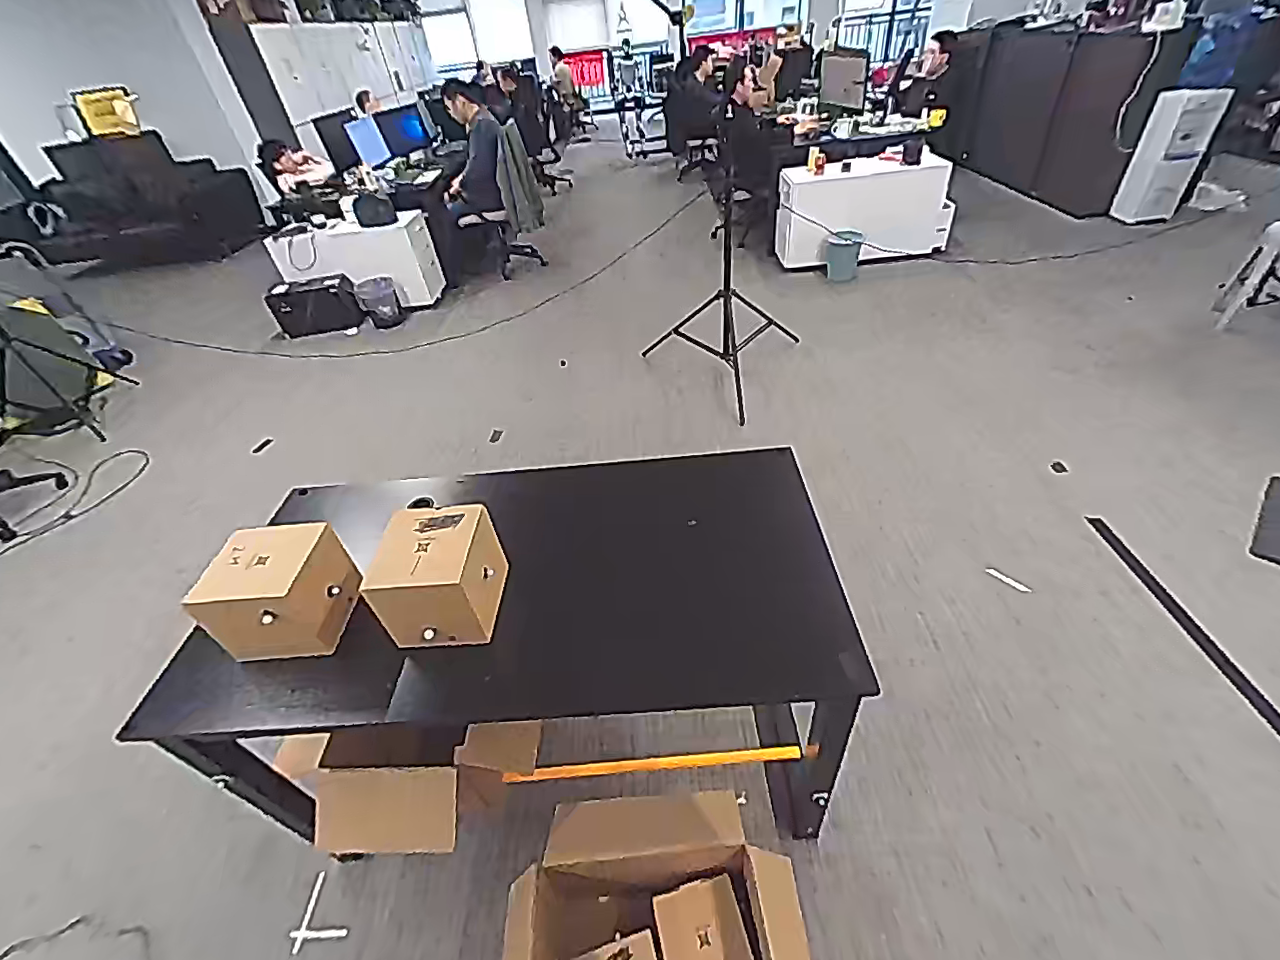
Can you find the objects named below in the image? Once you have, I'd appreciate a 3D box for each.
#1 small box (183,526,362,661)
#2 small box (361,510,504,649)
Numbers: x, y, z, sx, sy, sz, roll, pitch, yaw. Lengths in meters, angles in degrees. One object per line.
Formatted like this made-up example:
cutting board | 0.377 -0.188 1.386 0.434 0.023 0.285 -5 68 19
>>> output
small box | -0.633 0.202 0.962 0.179 0.176 0.168 -5 40 2
small box | -0.349 0.174 0.954 0.168 0.176 0.179 -4 41 4
